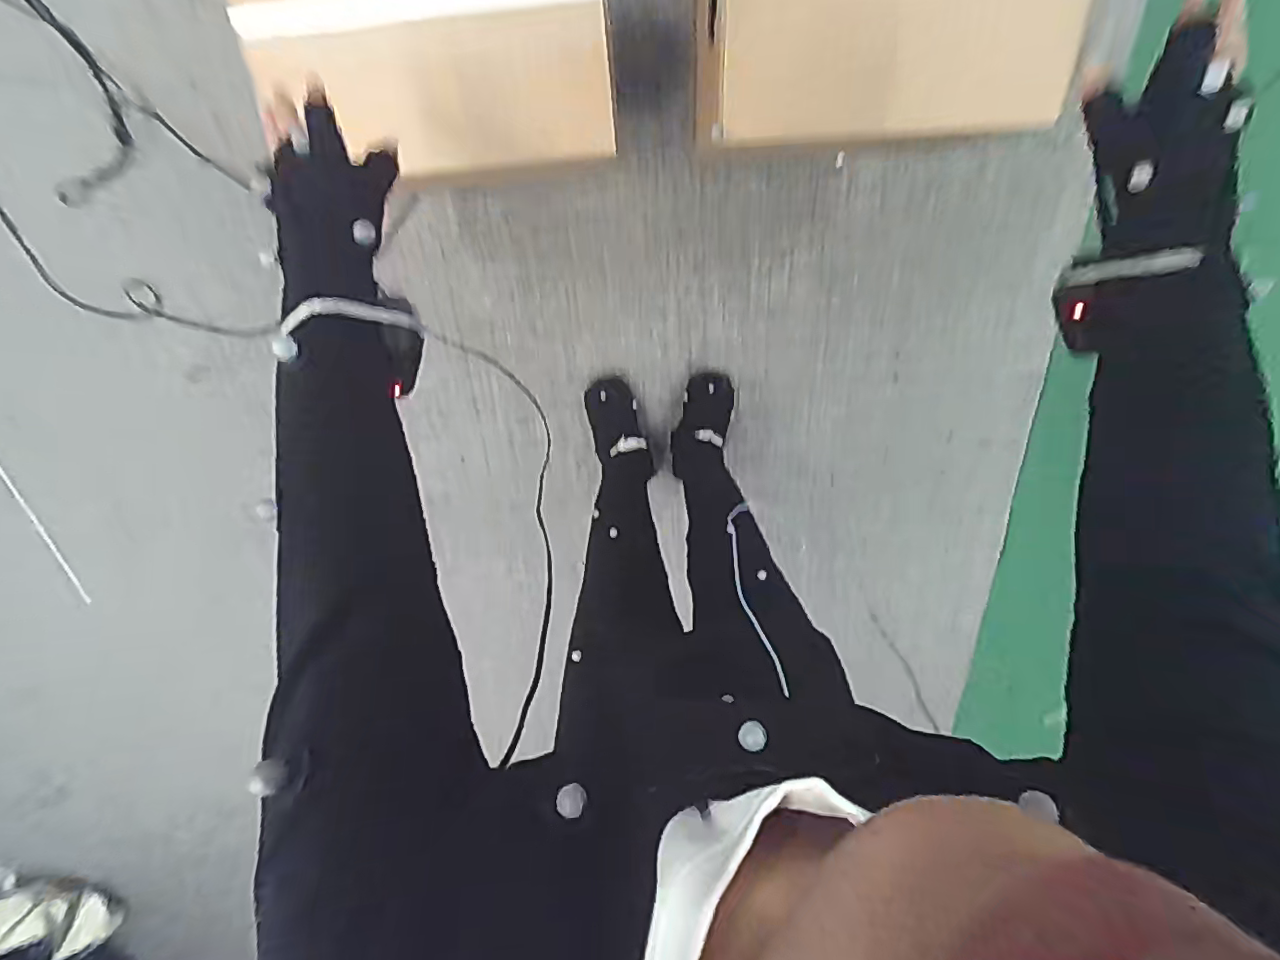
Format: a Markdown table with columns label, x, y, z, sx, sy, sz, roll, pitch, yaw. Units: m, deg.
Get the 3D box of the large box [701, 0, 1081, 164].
| label | x | y | z | sx | sy | sz | roll | pitch | yaw |
| --- | --- | --- | --- | --- | --- | --- | --- | --- | --- |
| large box | 0.297 | -0.623 | 0.728 | 0.408 | 0.320 | 0.320 | -2 | 116 | 1 |
